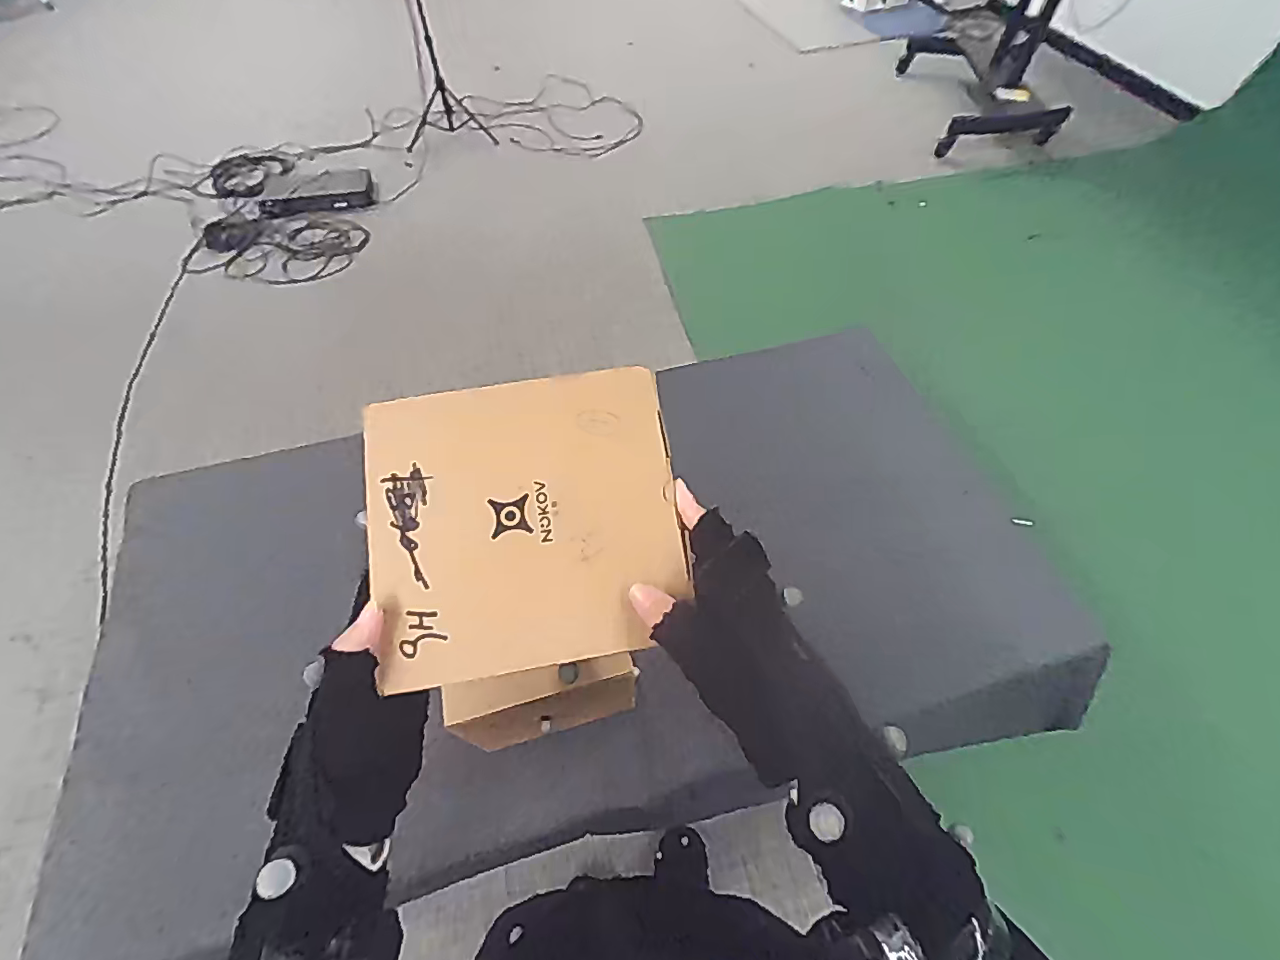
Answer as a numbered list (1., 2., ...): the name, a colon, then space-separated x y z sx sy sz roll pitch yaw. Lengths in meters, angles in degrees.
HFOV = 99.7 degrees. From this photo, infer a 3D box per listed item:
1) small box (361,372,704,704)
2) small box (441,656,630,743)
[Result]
1. small box: -0.068 0.045 0.384 0.179 0.176 0.168 -11 76 -5
2. small box: -0.114 0.176 0.604 0.179 0.176 0.168 -14 58 -8
